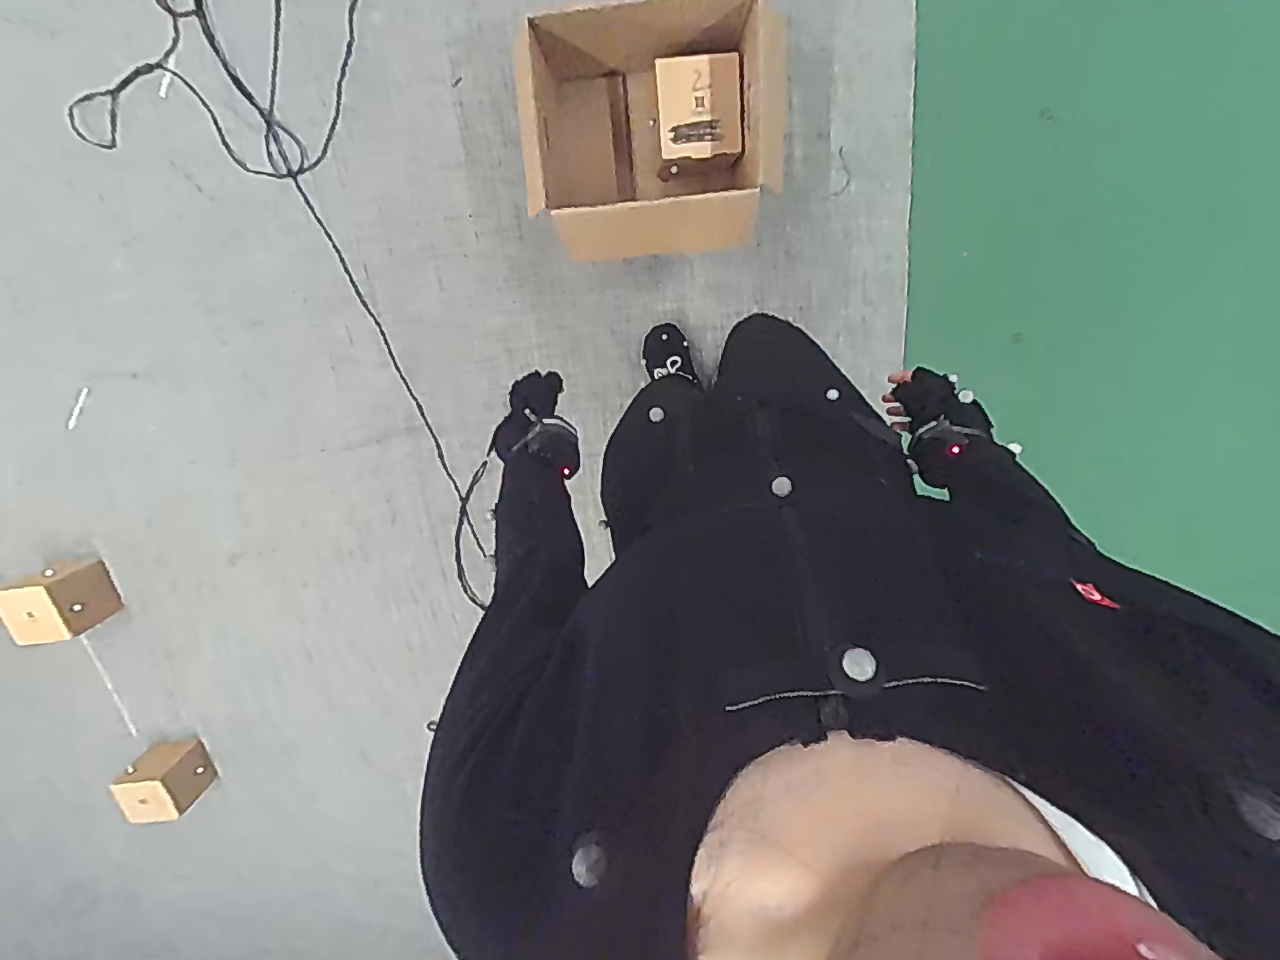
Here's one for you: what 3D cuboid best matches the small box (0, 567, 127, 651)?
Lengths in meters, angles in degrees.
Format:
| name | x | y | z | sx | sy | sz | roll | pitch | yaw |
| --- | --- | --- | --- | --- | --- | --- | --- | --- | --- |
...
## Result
| name | x | y | z | sx | sy | sz | roll | pitch | yaw |
| --- | --- | --- | --- | --- | --- | --- | --- | --- | --- |
| small box | -1.661 | 0.362 | 1.560 | 0.168 | 0.176 | 0.179 | -7 | 109 | 3 |

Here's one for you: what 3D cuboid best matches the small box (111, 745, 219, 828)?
| name | x | y | z | sx | sy | sz | roll | pitch | yaw |
| --- | --- | --- | --- | --- | --- | --- | --- | --- | --- |
| small box | -1.551 | 1.003 | 1.776 | 0.179 | 0.176 | 0.168 | -7 | 109 | 3 |
